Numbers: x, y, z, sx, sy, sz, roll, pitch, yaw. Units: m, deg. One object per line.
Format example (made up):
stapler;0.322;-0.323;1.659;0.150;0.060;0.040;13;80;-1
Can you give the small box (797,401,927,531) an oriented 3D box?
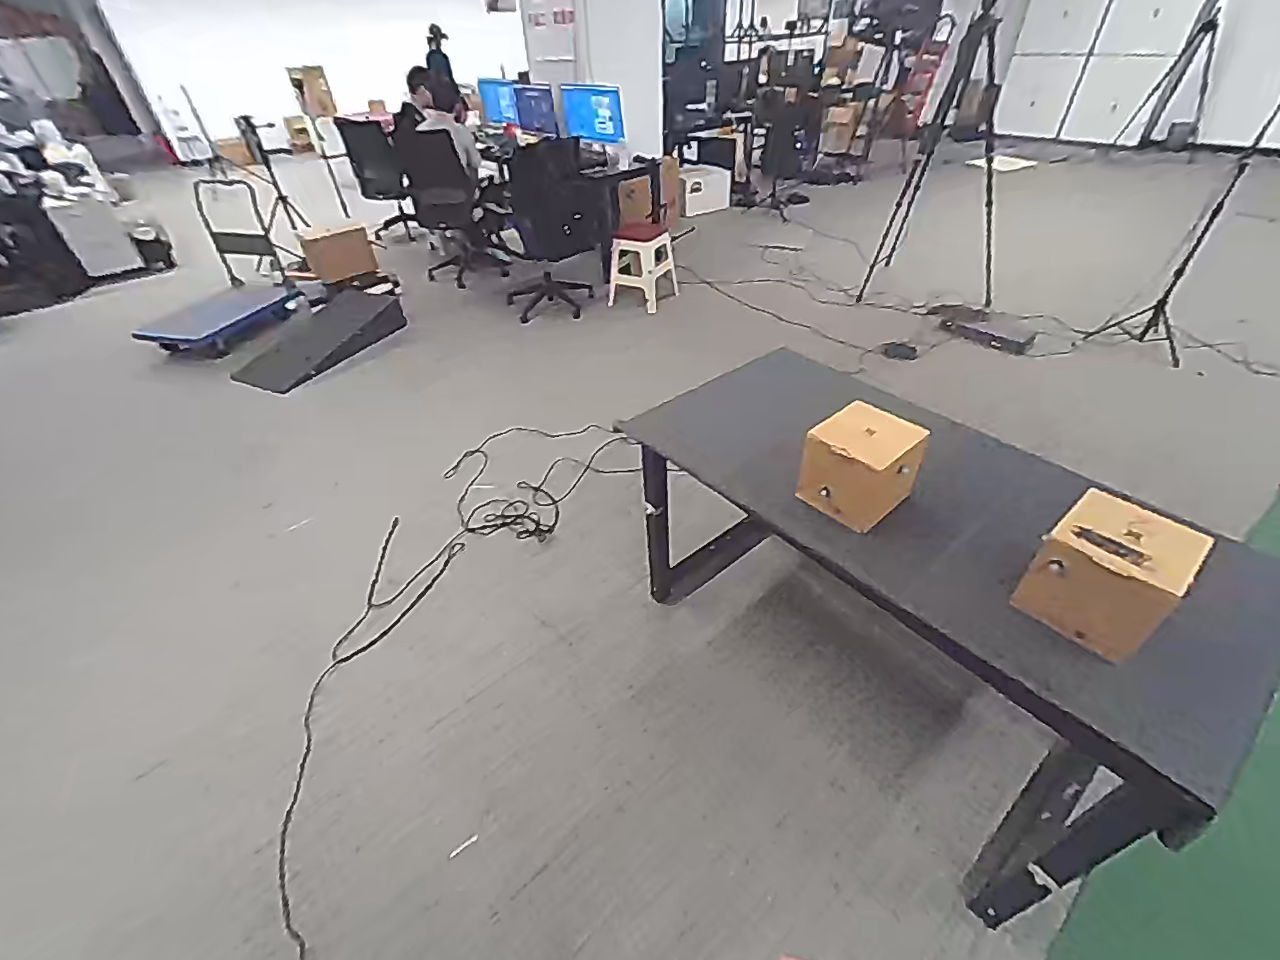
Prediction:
small box;0.445;-0.030;1.108;0.179;0.176;0.168;-30;48;-28
